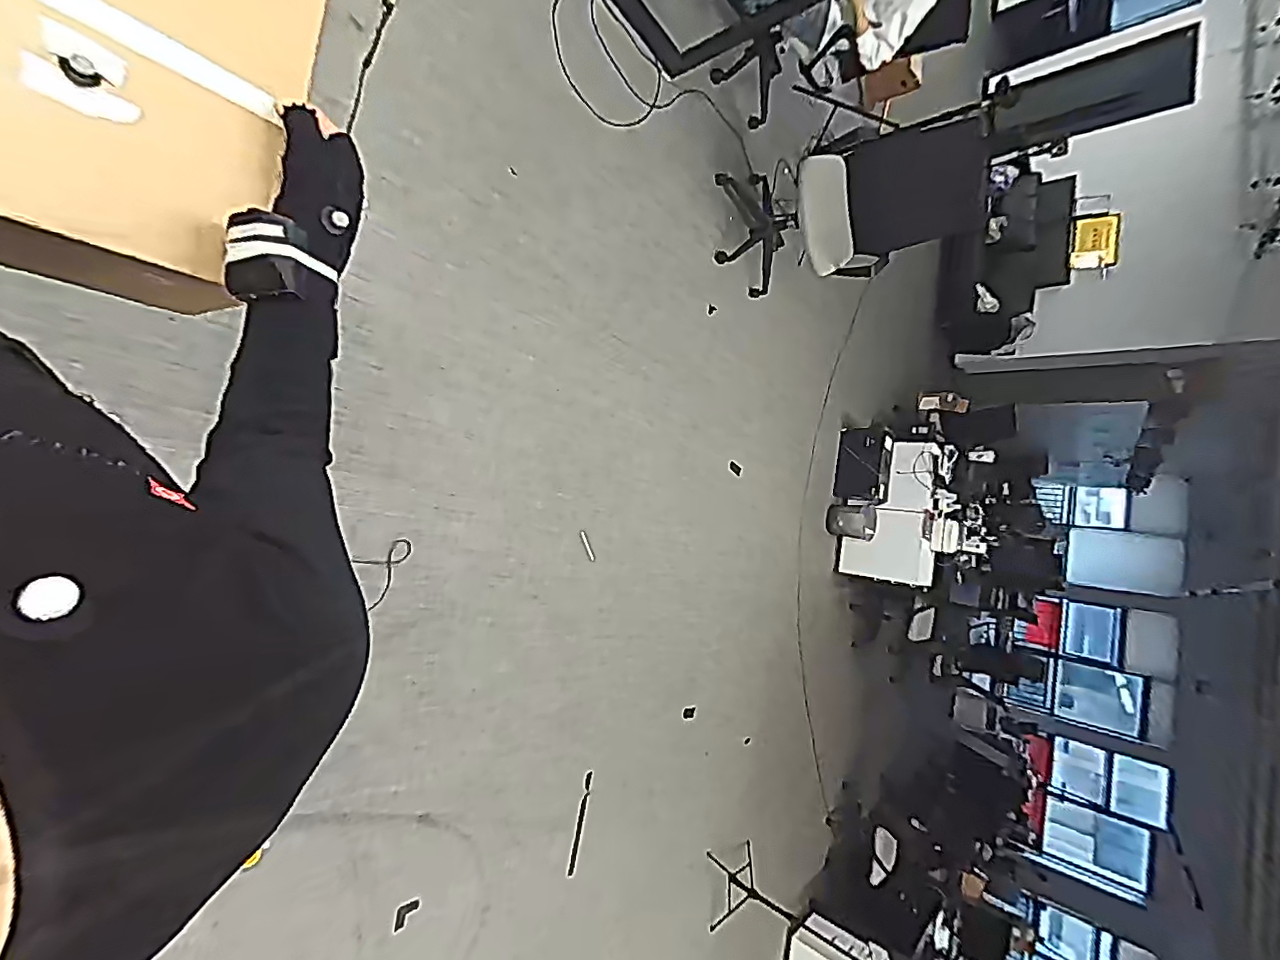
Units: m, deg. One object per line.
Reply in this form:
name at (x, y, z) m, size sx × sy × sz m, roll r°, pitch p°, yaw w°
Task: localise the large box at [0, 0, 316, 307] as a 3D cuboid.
large box at (-0.551, -0.360, 0.428) m, size 0.408 × 0.320 × 0.320 m, roll 9°, pitch 91°, yaw -52°
